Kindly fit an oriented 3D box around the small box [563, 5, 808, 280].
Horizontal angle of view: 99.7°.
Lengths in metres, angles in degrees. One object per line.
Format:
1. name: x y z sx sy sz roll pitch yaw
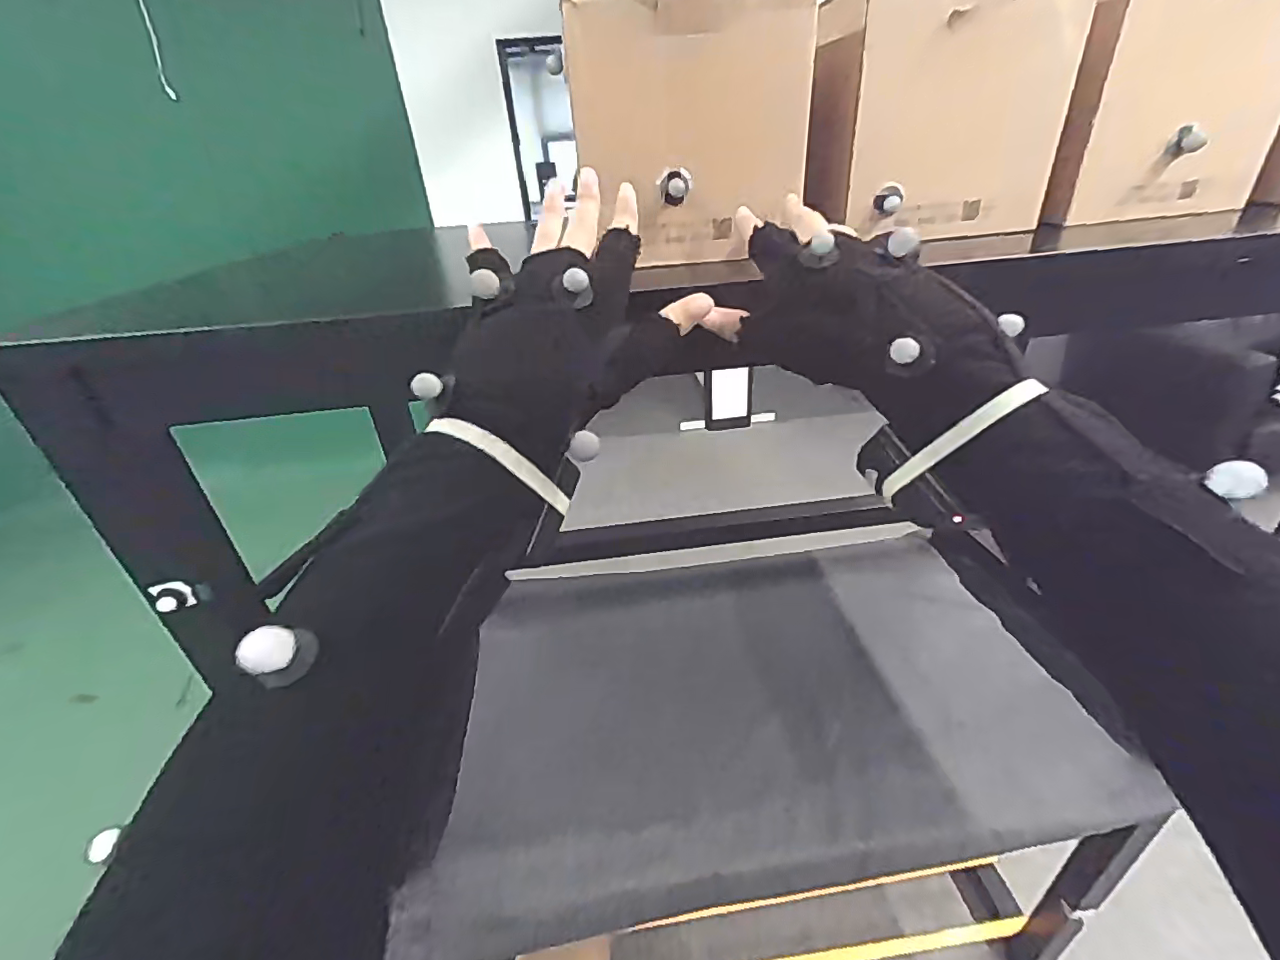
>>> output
1. small box: 0.029 -0.273 0.464 0.168 0.176 0.179 -6 30 -2
